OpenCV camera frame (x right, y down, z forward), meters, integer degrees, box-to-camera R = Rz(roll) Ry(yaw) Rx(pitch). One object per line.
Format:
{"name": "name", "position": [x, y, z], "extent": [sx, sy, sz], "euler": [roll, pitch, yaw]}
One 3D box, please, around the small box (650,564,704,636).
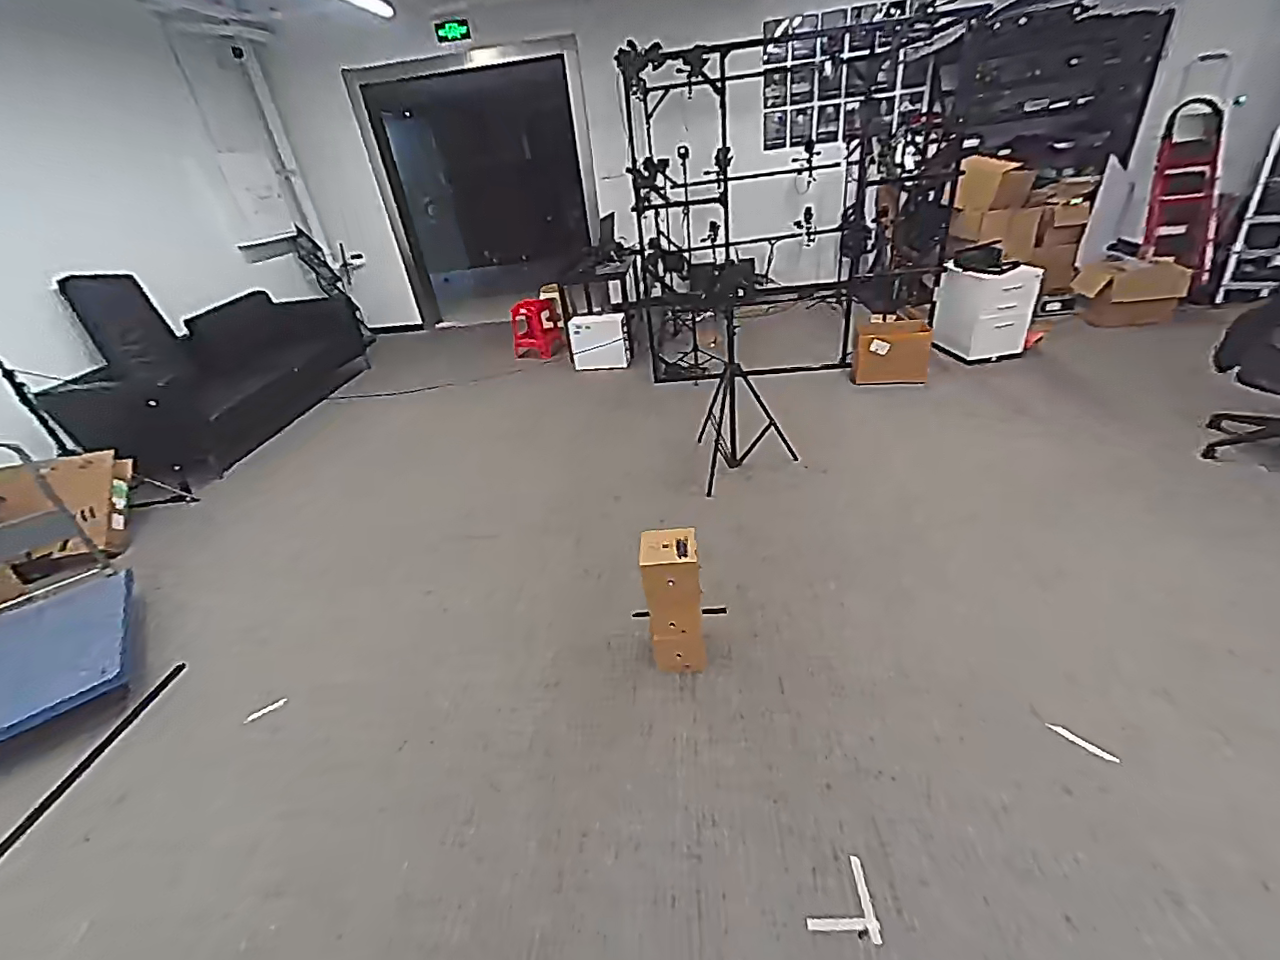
{"name": "small box", "position": [0.127, 0.403, 1.818], "extent": [0.168, 0.176, 0.179], "euler": [-4, 32, 7]}

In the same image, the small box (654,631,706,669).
{"name": "small box", "position": [0.142, 0.546, 1.895], "extent": [0.168, 0.176, 0.179], "euler": [-5, 31, 5]}
